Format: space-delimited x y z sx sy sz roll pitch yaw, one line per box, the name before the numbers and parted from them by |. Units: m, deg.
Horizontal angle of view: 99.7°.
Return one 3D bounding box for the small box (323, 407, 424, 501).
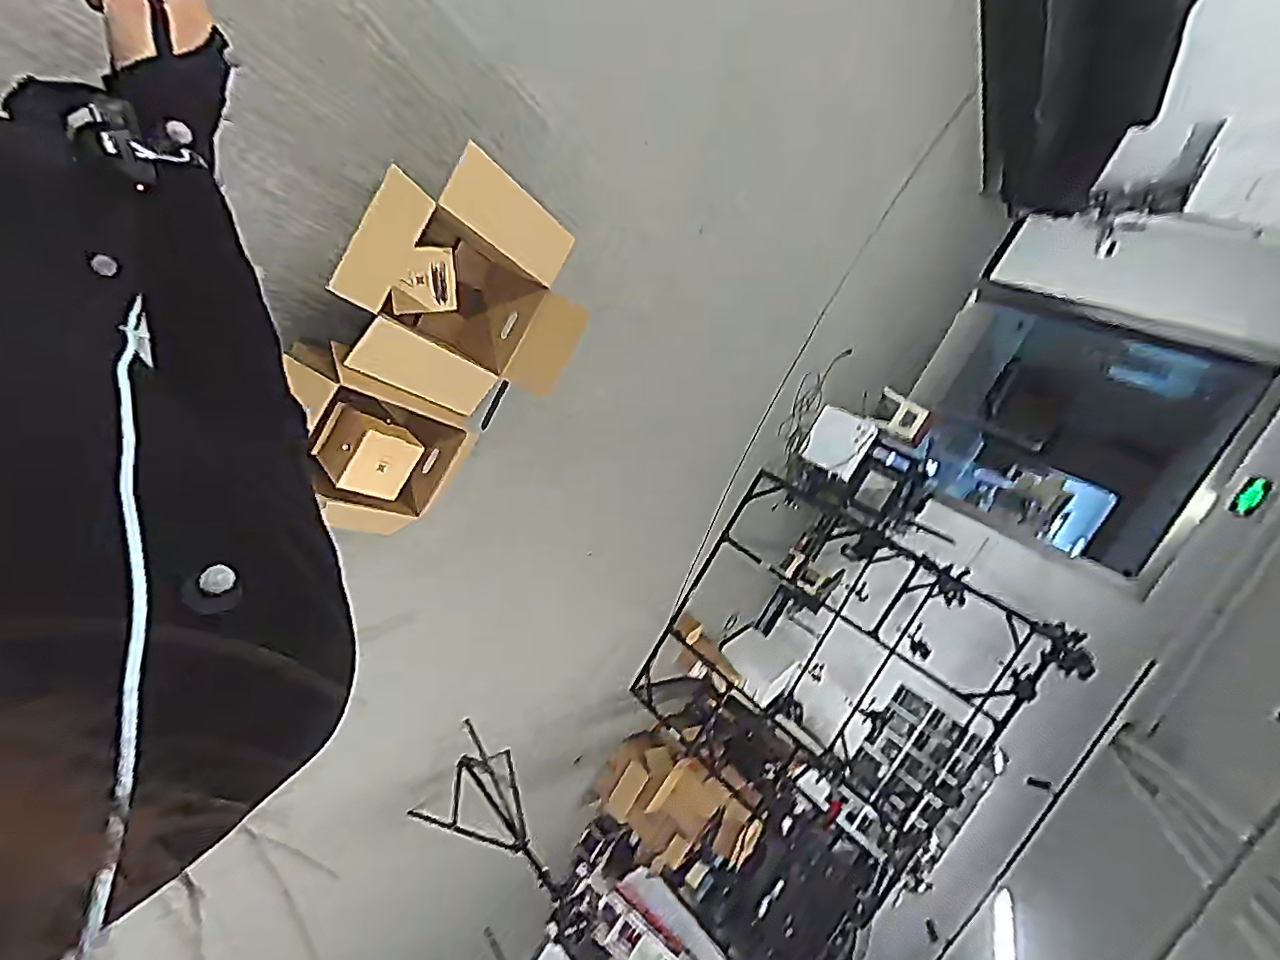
small box | -0.731 -0.071 1.471 0.168 0.176 0.179 25 98 -54
